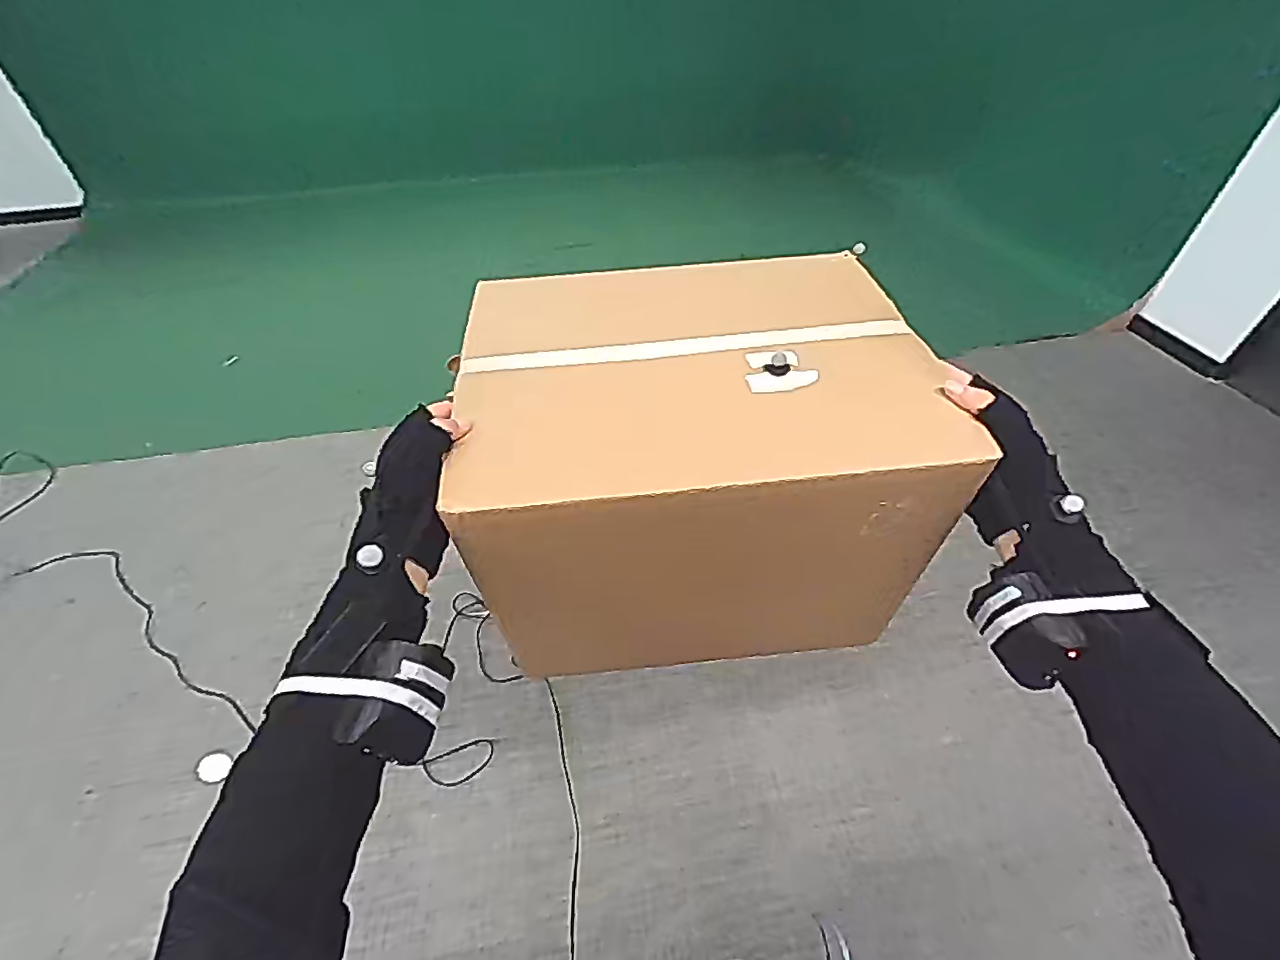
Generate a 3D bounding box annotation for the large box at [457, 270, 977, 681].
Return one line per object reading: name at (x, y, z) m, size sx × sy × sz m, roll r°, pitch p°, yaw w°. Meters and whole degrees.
large box at (0.047, -0.004, 0.606) m, size 0.408 × 0.320 × 0.320 m, roll -6°, pitch 49°, yaw -3°
